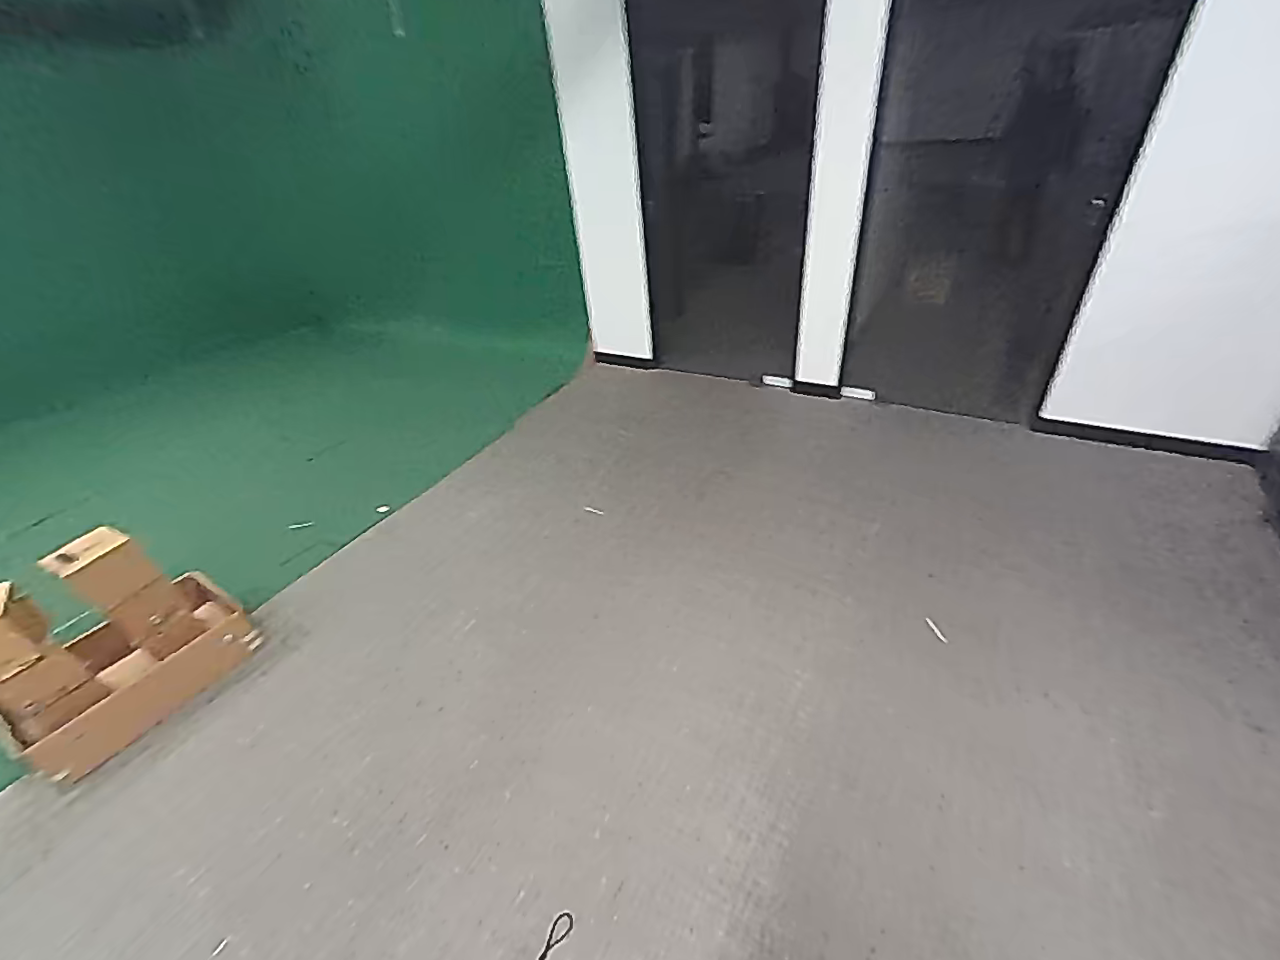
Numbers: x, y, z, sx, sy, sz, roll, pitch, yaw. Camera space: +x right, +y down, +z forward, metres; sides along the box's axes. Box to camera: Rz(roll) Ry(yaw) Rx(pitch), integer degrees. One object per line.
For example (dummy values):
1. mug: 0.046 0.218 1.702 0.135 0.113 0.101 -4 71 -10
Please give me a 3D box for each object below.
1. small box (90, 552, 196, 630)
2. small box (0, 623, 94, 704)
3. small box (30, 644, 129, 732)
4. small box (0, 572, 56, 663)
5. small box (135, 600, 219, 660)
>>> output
1. small box: -1.657 0.373 1.812 0.179 0.176 0.168 15 42 22
2. small box: -1.790 0.530 1.601 0.179 0.176 0.168 16 39 28
3. small box: -1.785 0.658 1.704 0.179 0.176 0.168 16 40 26
4. small box: -1.792 0.398 1.506 0.168 0.176 0.179 -25 39 -27
5. small box: -1.647 0.503 1.910 0.179 0.176 0.168 21 44 31
